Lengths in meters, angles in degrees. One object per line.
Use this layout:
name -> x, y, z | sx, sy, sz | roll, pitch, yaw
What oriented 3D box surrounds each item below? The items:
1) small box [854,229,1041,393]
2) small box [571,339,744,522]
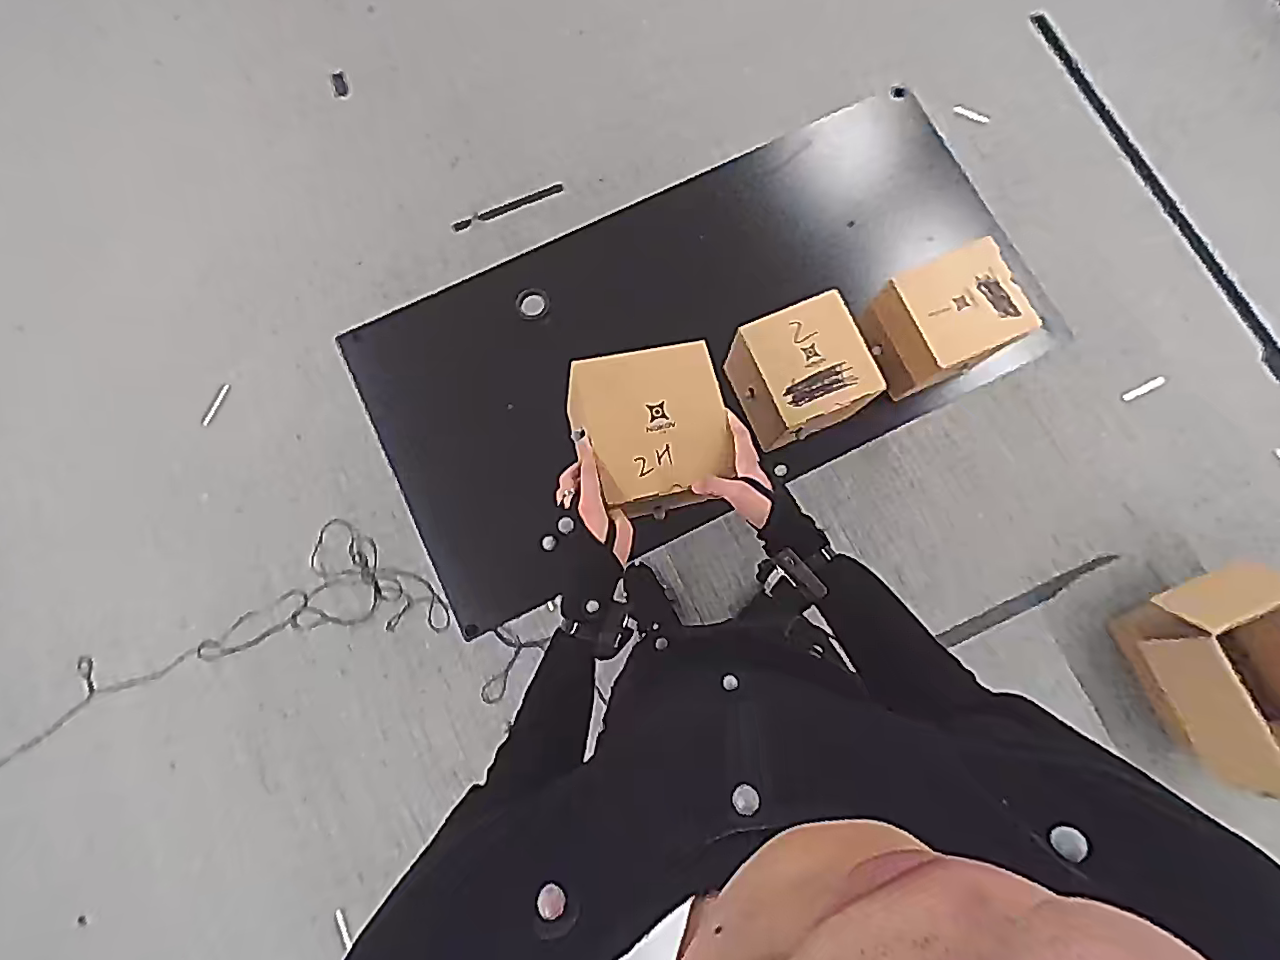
small box -> 0.492, -0.268, 0.892 | 0.179, 0.176, 0.168 | -24, 81, -2
small box -> 0.010, -0.055, 0.692 | 0.168, 0.176, 0.179 | -12, 81, -11
